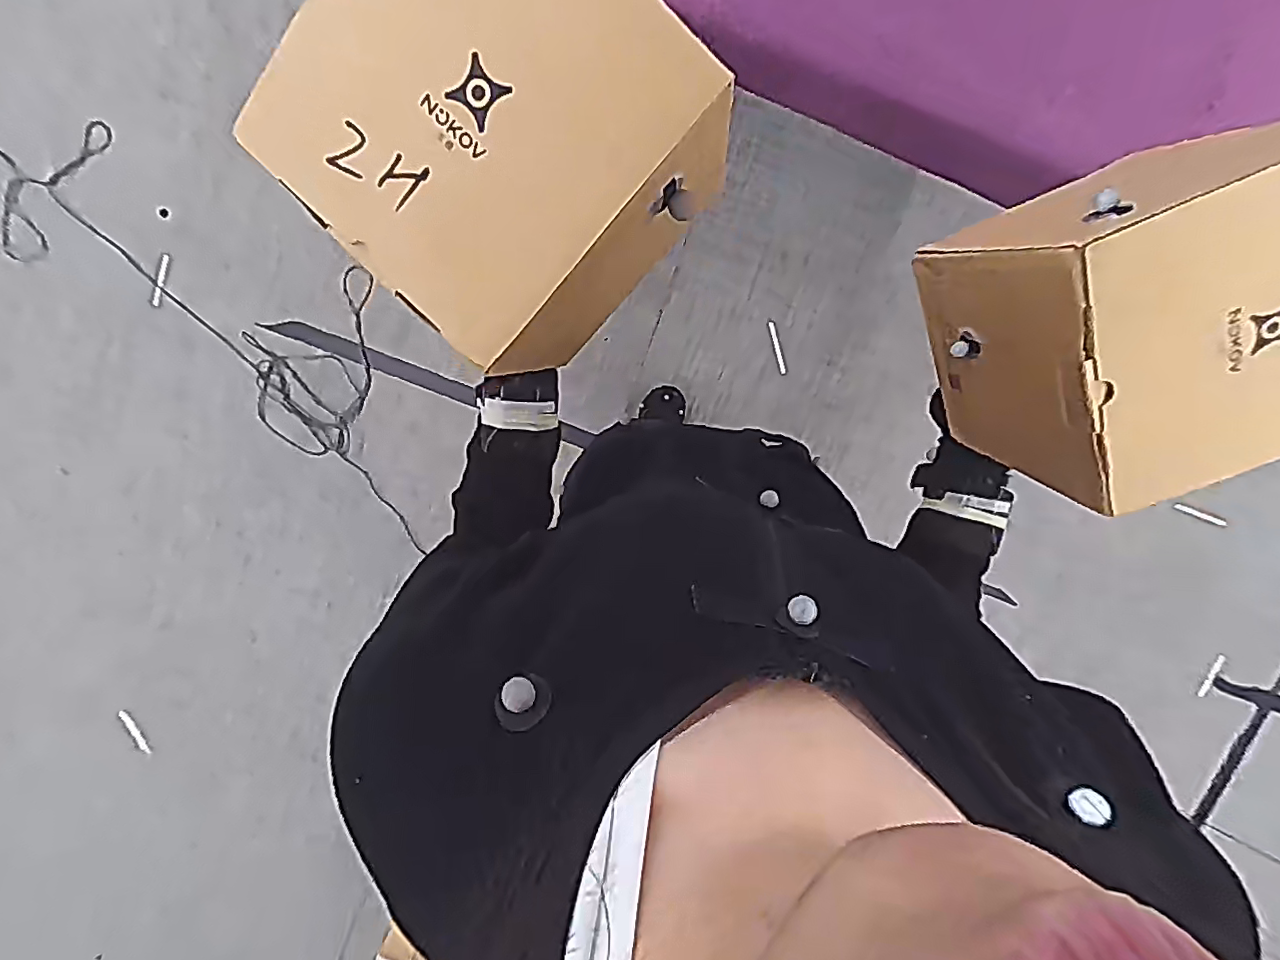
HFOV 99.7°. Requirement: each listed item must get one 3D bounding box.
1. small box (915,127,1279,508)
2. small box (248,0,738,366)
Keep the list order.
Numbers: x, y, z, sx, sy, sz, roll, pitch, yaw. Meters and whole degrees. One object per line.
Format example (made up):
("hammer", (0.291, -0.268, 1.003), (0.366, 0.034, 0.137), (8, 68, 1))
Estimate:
("small box", (0.324, -0.113, 0.364), (0.179, 0.176, 0.168), (-23, 111, 7))
("small box", (-0.065, -0.190, 0.323), (0.168, 0.176, 0.179), (43, 105, -4))
